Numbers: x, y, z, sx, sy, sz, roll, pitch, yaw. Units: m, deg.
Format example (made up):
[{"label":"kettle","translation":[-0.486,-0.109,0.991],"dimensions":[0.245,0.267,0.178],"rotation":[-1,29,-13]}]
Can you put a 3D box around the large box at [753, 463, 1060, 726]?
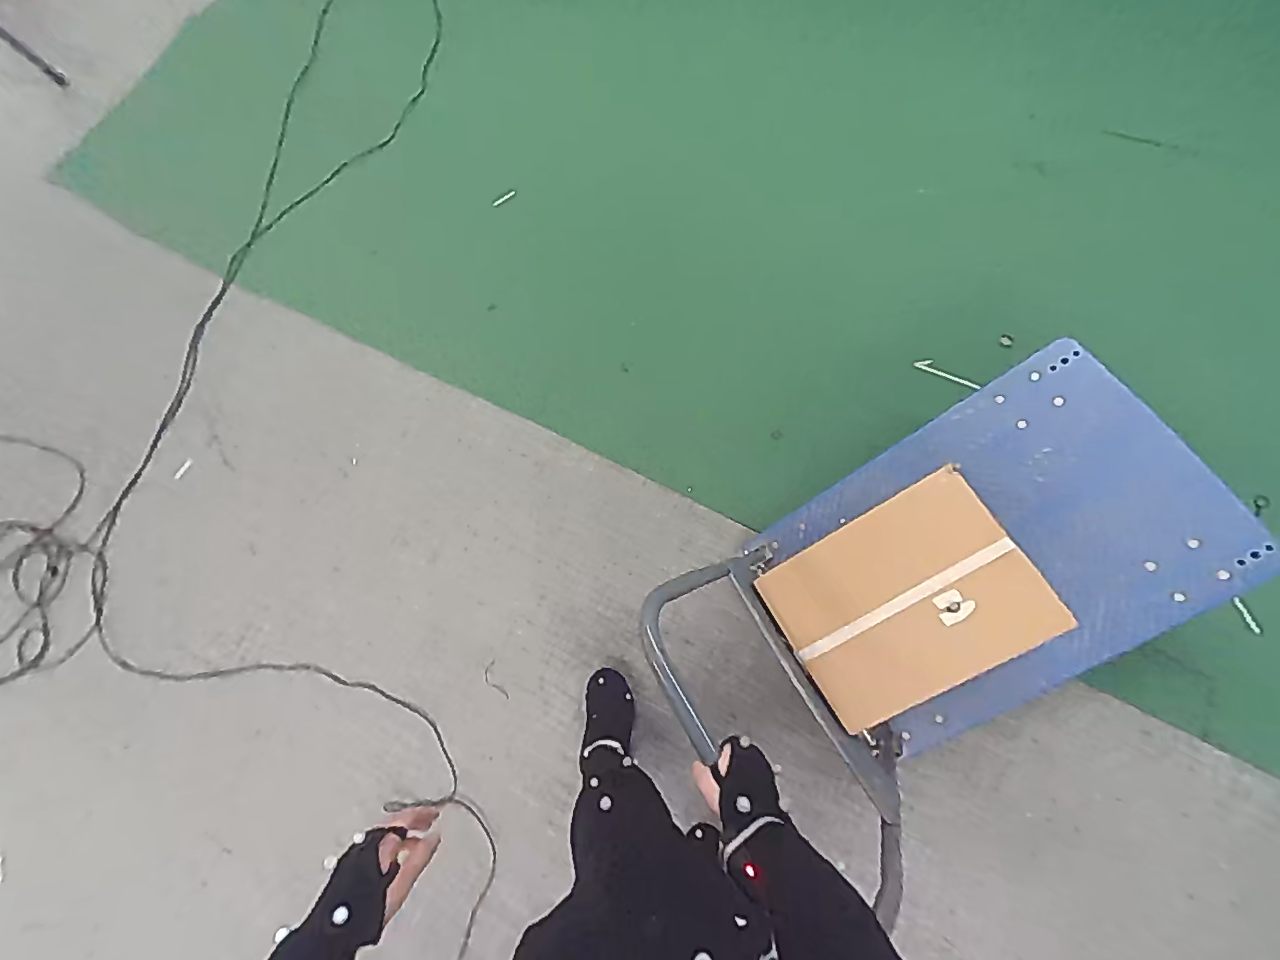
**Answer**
[{"label":"large box","translation":[0.496,0.221,1.089],"dimensions":[0.408,0.320,0.320],"rotation":[-34,74,14]}]
